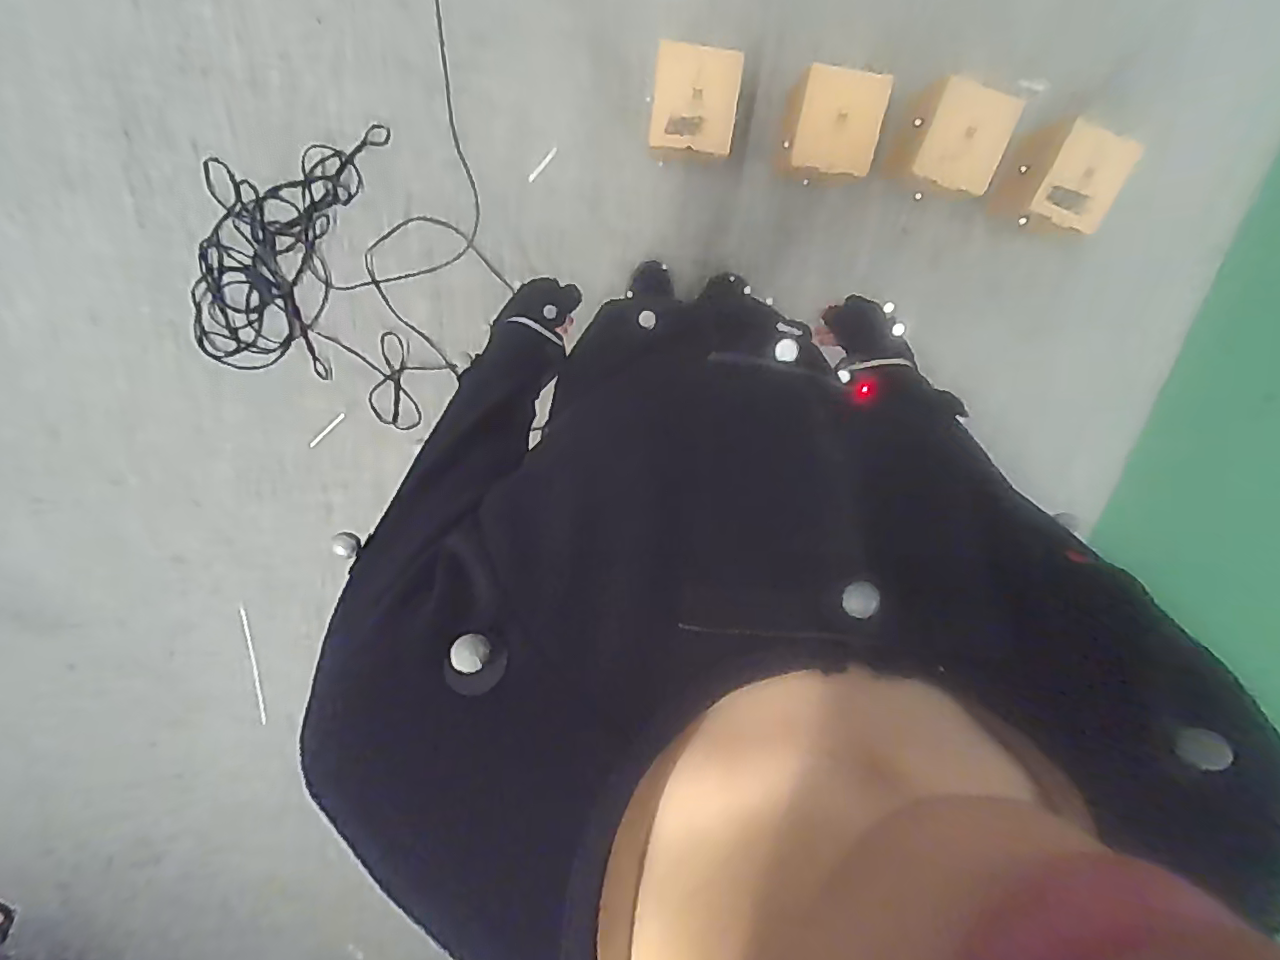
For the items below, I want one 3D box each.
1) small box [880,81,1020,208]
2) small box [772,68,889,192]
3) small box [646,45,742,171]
[{"bbox_3d":[0.648,-0.705,1.158,0.168,0.176,0.179,15,111,-5],"label":"small box"},{"bbox_3d":[0.393,-0.731,1.148,0.168,0.176,0.179,8,111,-3],"label":"small box"},{"bbox_3d":[0.104,-0.764,1.132,0.168,0.176,0.179,7,110,-3],"label":"small box"}]
